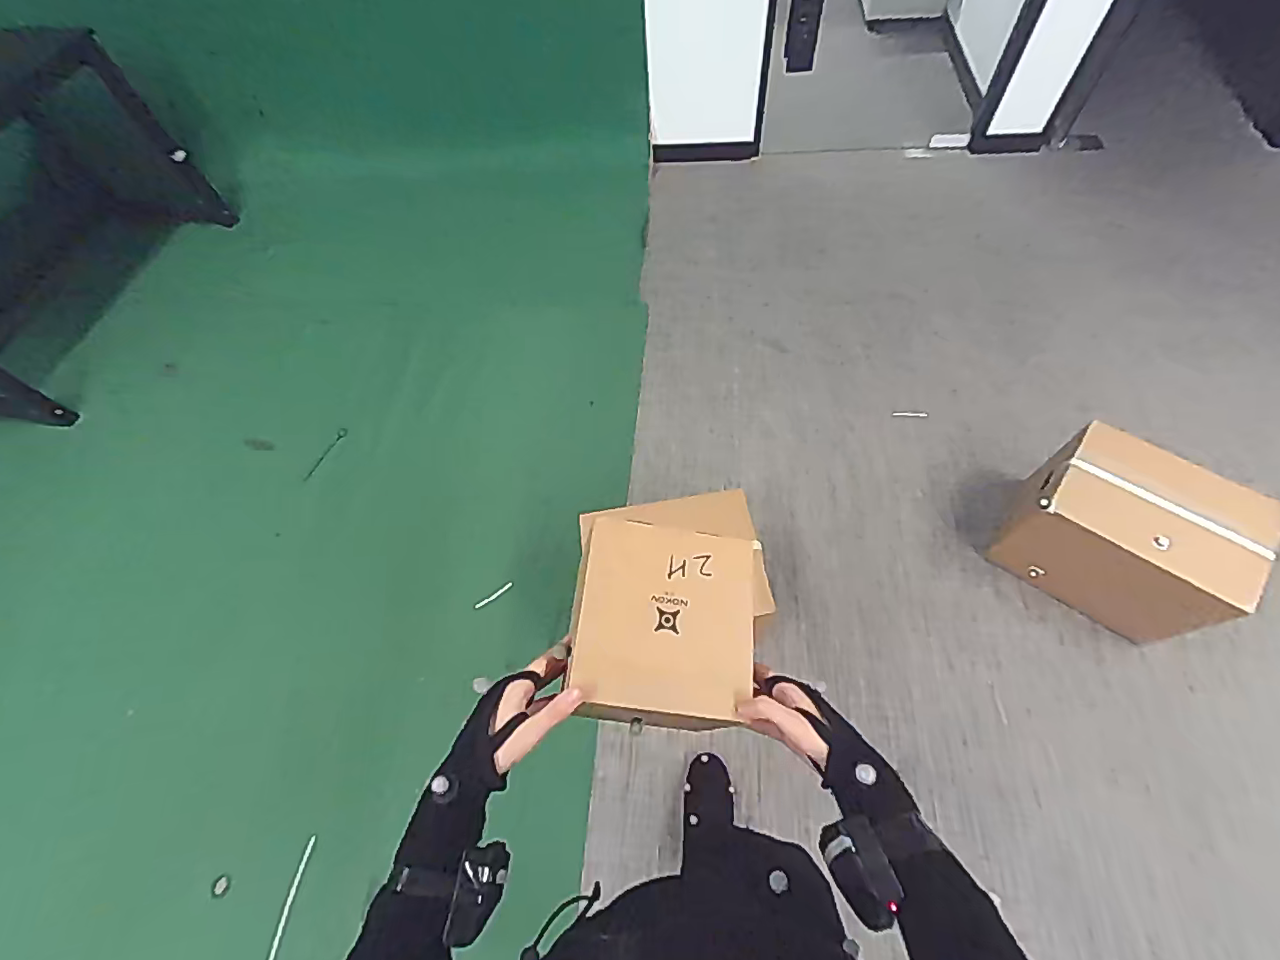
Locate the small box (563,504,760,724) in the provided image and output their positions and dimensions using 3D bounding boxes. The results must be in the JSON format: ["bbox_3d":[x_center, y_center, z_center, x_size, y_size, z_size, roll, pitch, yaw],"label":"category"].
[{"bbox_3d":[0.016,0.151,0.569,0.168,0.176,0.179,12,60,-8],"label":"small box"}]

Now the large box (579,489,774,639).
[{"bbox_3d":[0.083,0.257,1.354,0.408,0.320,0.320,-10,59,0],"label":"large box"}]
